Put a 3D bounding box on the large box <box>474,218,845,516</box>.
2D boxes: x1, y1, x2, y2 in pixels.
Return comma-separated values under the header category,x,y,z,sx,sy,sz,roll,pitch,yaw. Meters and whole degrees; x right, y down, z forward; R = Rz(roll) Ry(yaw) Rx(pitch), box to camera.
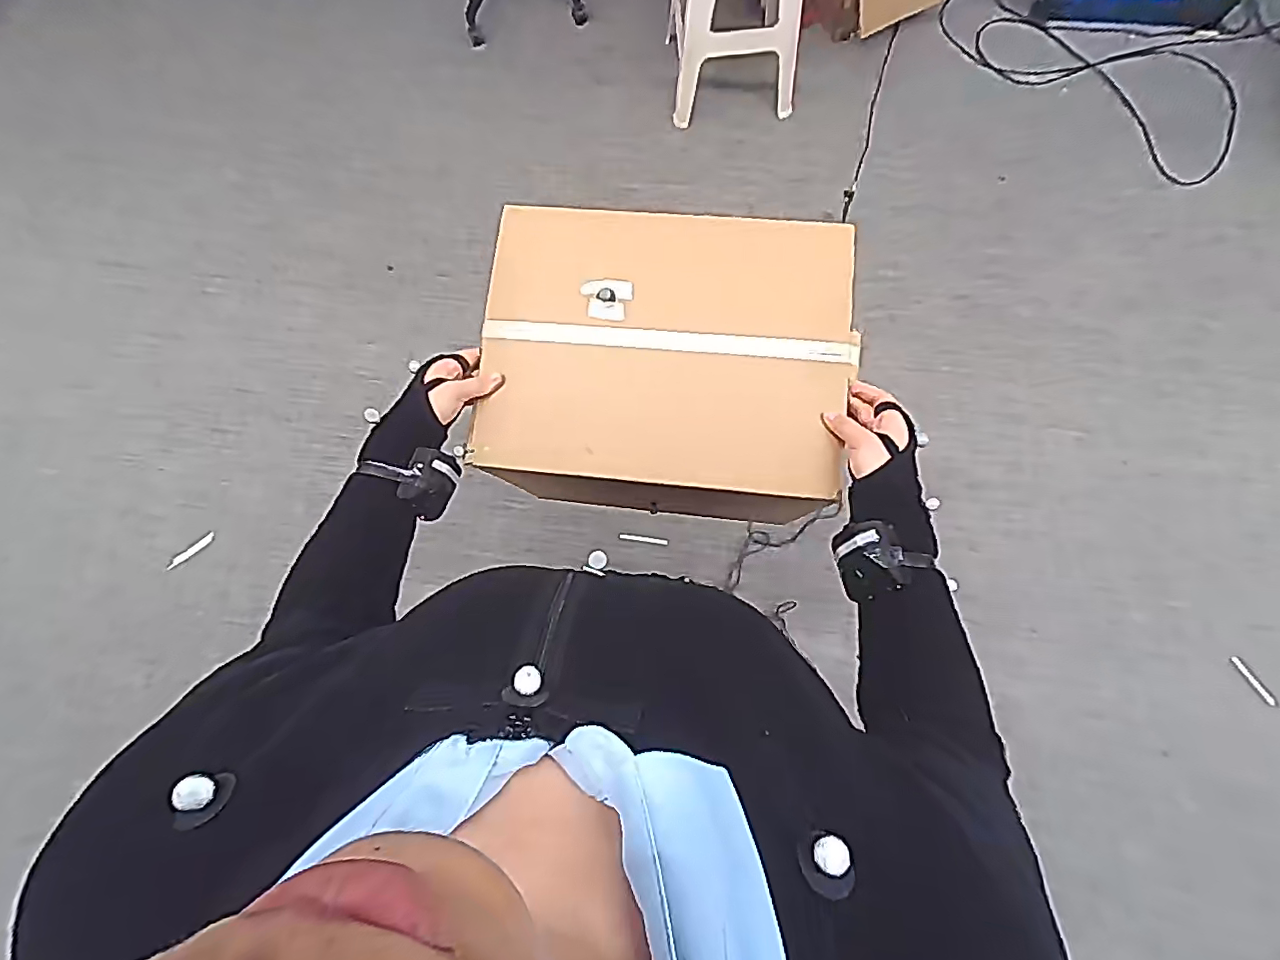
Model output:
category,x,y,z,sx,sy,sz,roll,pitch,yaw
large box,0.038,-0.127,0.751,0.408,0.320,0.320,5,80,6
